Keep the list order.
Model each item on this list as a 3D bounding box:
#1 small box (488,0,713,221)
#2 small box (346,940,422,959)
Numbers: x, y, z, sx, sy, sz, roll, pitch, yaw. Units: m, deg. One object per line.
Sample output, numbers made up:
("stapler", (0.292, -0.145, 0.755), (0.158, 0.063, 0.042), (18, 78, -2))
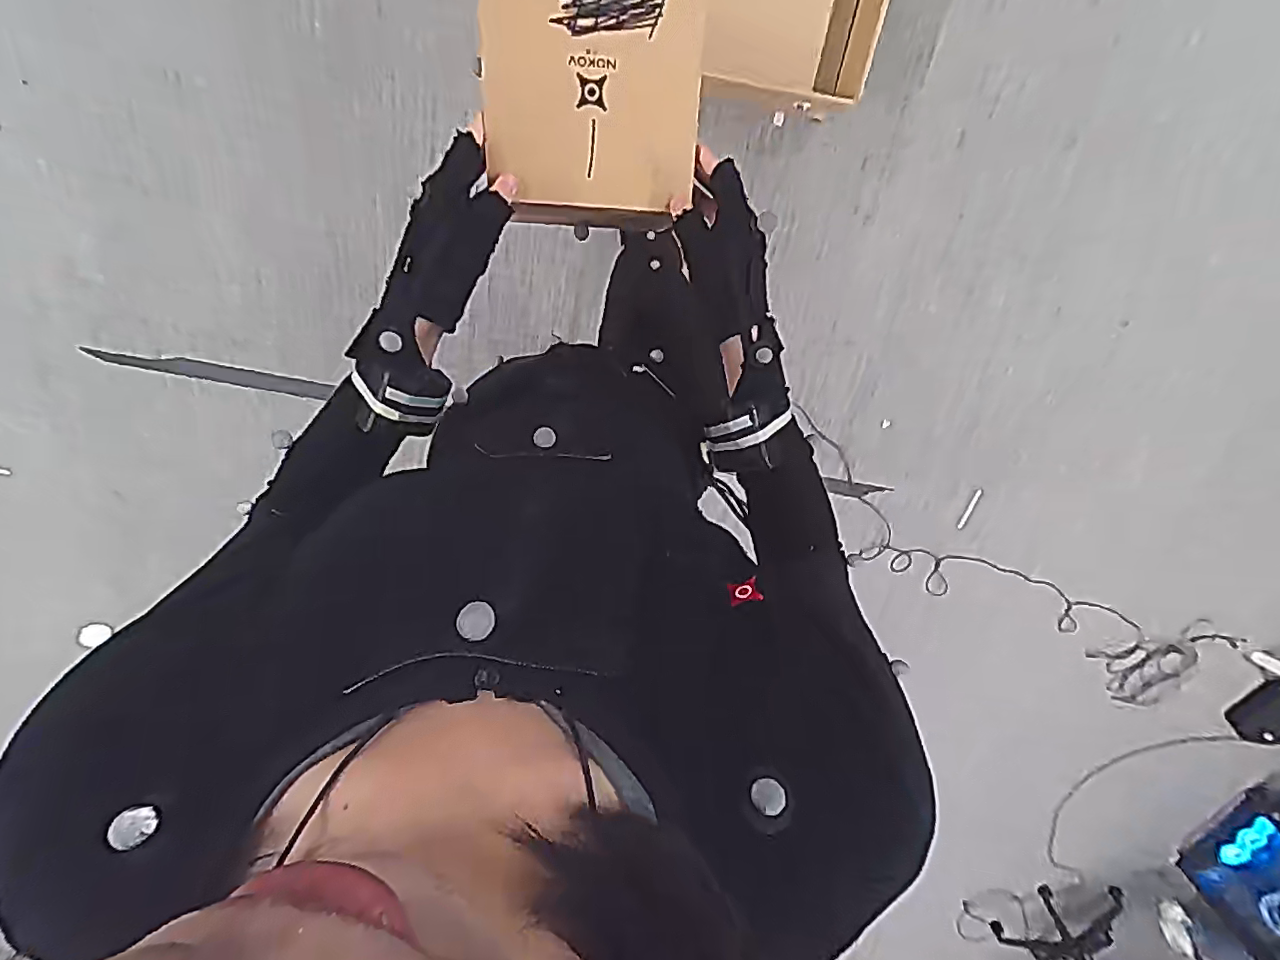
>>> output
("small box", (-0.039, -0.338, 0.475), (0.168, 0.176, 0.179), (1, 110, -7))
("small box", (-0.625, 1.233, 1.284), (0.179, 0.176, 0.168), (5, 117, -5))
